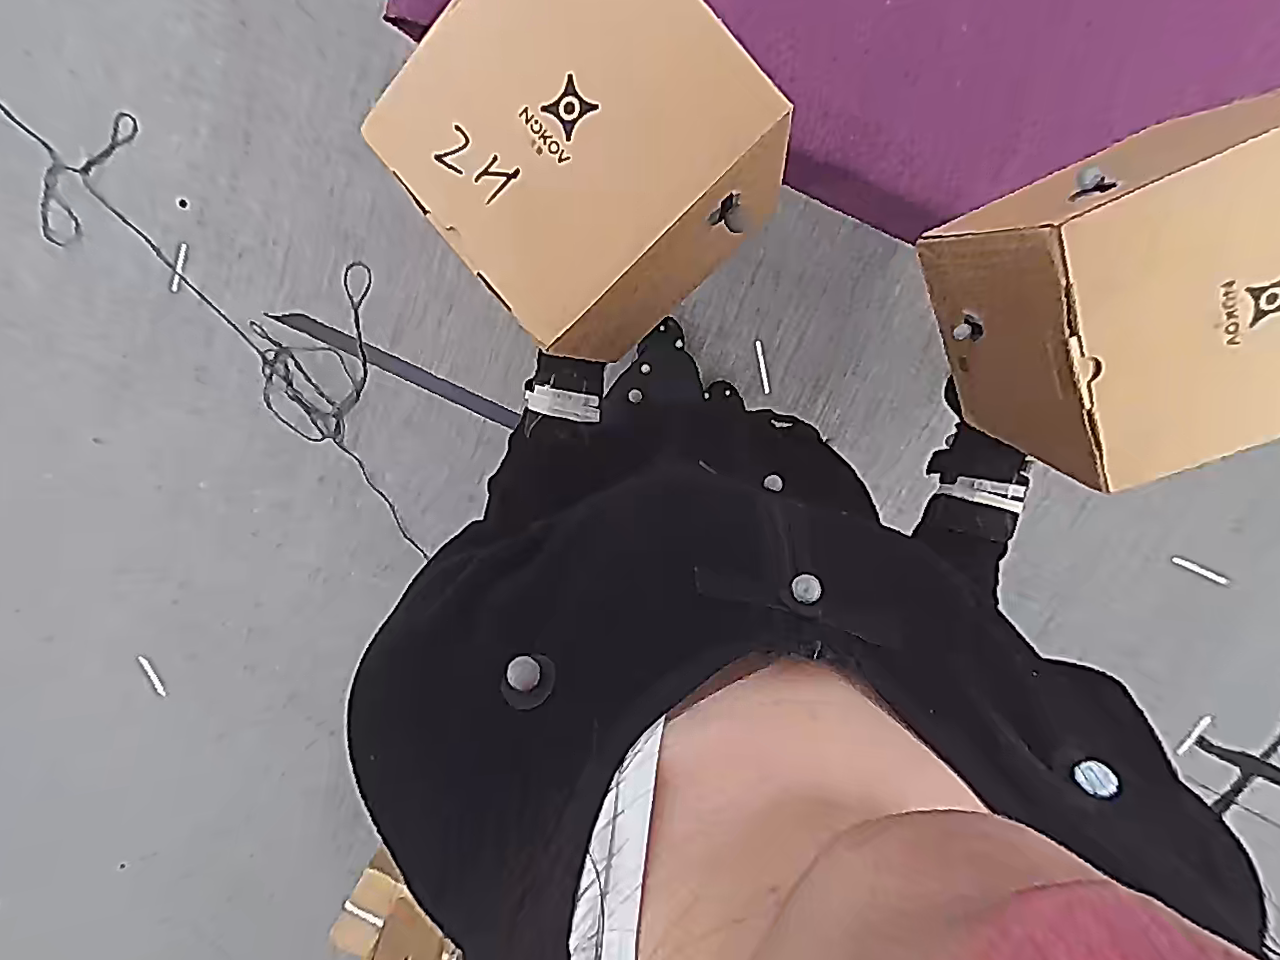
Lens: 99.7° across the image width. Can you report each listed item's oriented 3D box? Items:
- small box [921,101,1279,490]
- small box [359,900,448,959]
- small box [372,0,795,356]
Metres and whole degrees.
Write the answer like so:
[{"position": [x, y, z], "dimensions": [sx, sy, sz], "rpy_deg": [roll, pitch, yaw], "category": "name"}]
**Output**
[{"position": [0.326, -0.124, 0.360], "dimensions": [0.179, 0.176, 0.168], "rpy_deg": [-23, 109, 12], "category": "small box"}, {"position": [-0.647, 1.283, 1.444], "dimensions": [0.179, 0.176, 0.168], "rpy_deg": [32, 102, -1], "category": "small box"}, {"position": [-0.023, -0.203, 0.362], "dimensions": [0.179, 0.176, 0.168], "rpy_deg": [-40, 90, 15], "category": "small box"}]
